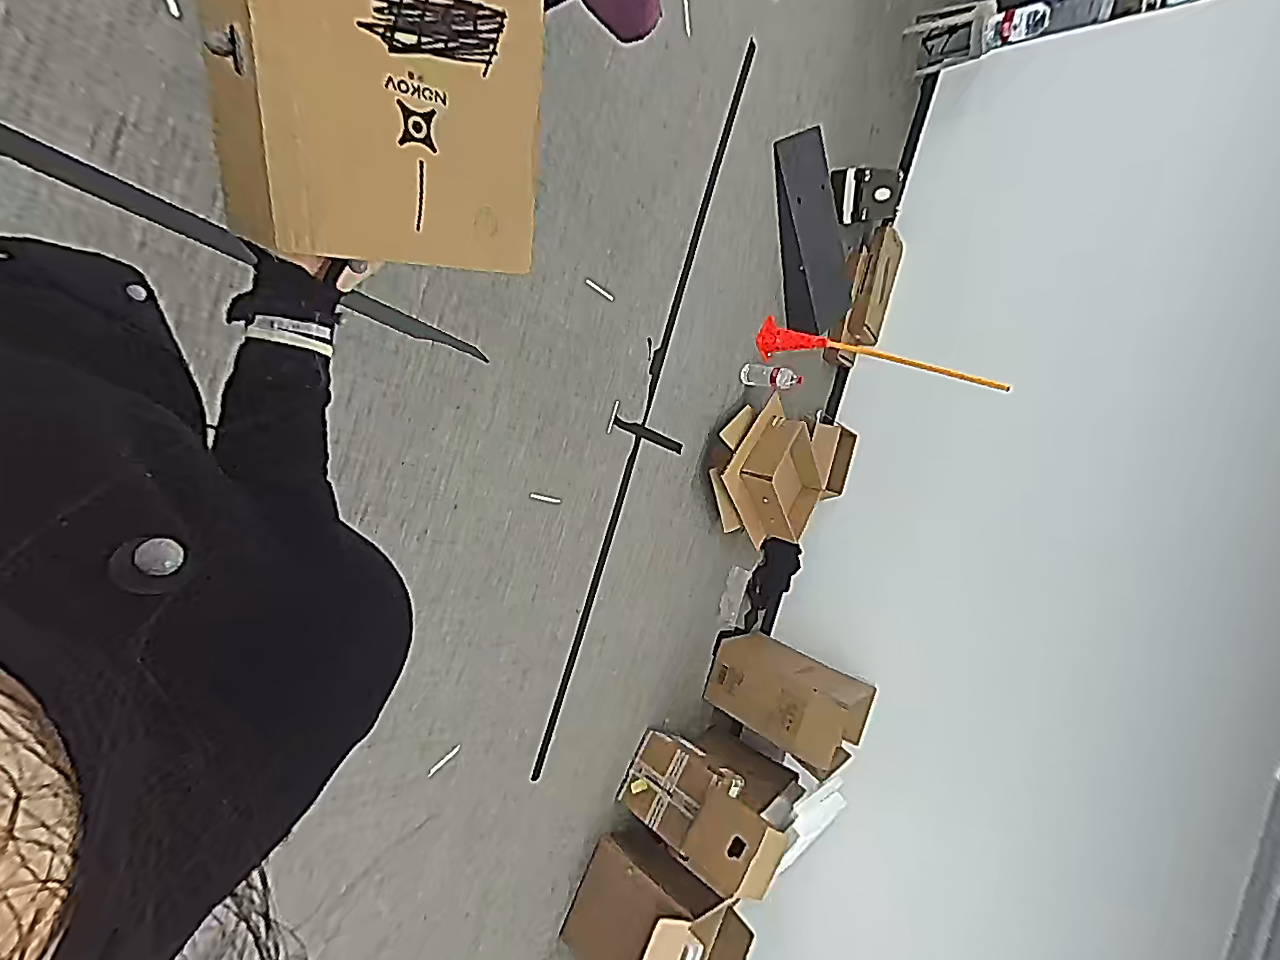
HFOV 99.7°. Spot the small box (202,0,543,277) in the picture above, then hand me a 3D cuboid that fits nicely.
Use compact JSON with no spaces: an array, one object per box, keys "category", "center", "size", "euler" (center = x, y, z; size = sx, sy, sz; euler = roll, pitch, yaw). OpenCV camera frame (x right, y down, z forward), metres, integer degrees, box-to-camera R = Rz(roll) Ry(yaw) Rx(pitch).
[{"category":"small box","center":[-0.188,-0.252,0.383],"size":[0.168,0.176,0.179],"euler":[-13,121,-41]}]
